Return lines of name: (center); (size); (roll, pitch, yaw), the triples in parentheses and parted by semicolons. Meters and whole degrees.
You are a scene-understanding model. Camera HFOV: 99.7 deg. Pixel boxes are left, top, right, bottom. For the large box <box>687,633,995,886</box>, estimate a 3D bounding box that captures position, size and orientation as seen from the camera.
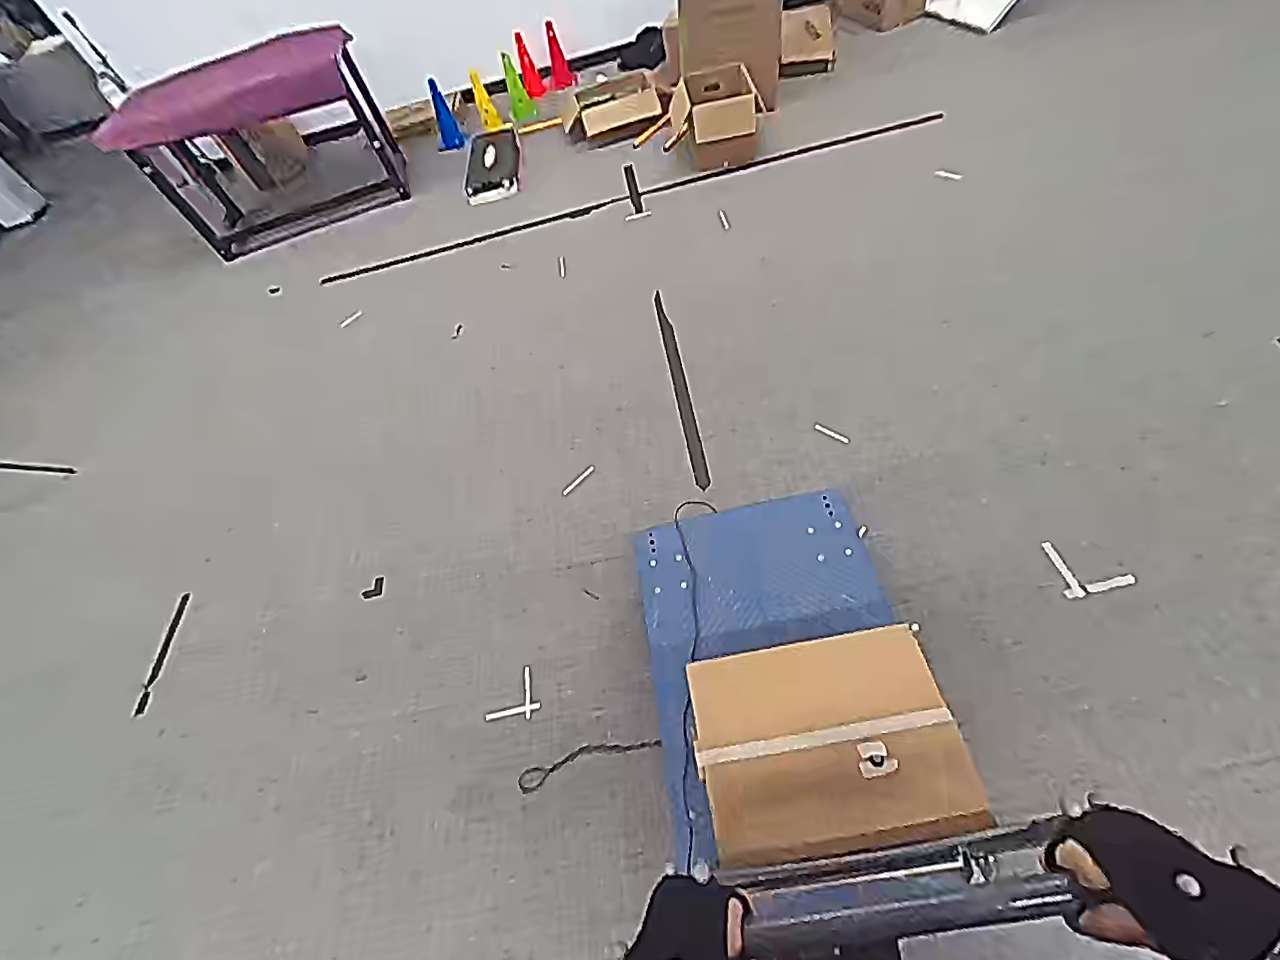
large box: (0.320, 0.517, 0.987); (0.408, 0.320, 0.320); (-12, 54, 3)
